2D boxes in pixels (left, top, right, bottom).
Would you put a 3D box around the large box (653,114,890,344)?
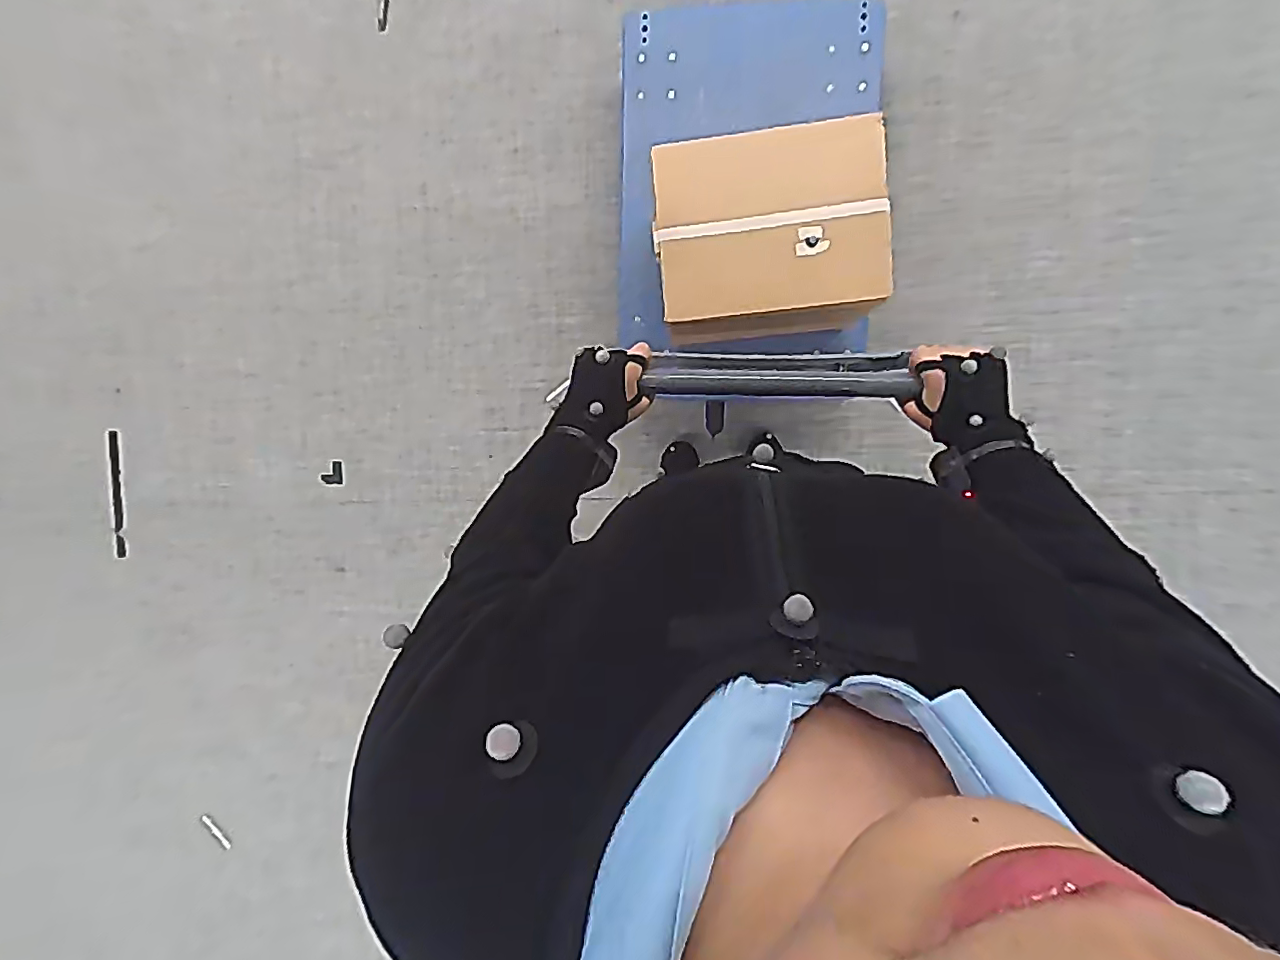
[{"bbox_3d":[0.248,-0.482,1.122,0.408,0.320,0.320,-5,96,5],"label":"large box"}]
